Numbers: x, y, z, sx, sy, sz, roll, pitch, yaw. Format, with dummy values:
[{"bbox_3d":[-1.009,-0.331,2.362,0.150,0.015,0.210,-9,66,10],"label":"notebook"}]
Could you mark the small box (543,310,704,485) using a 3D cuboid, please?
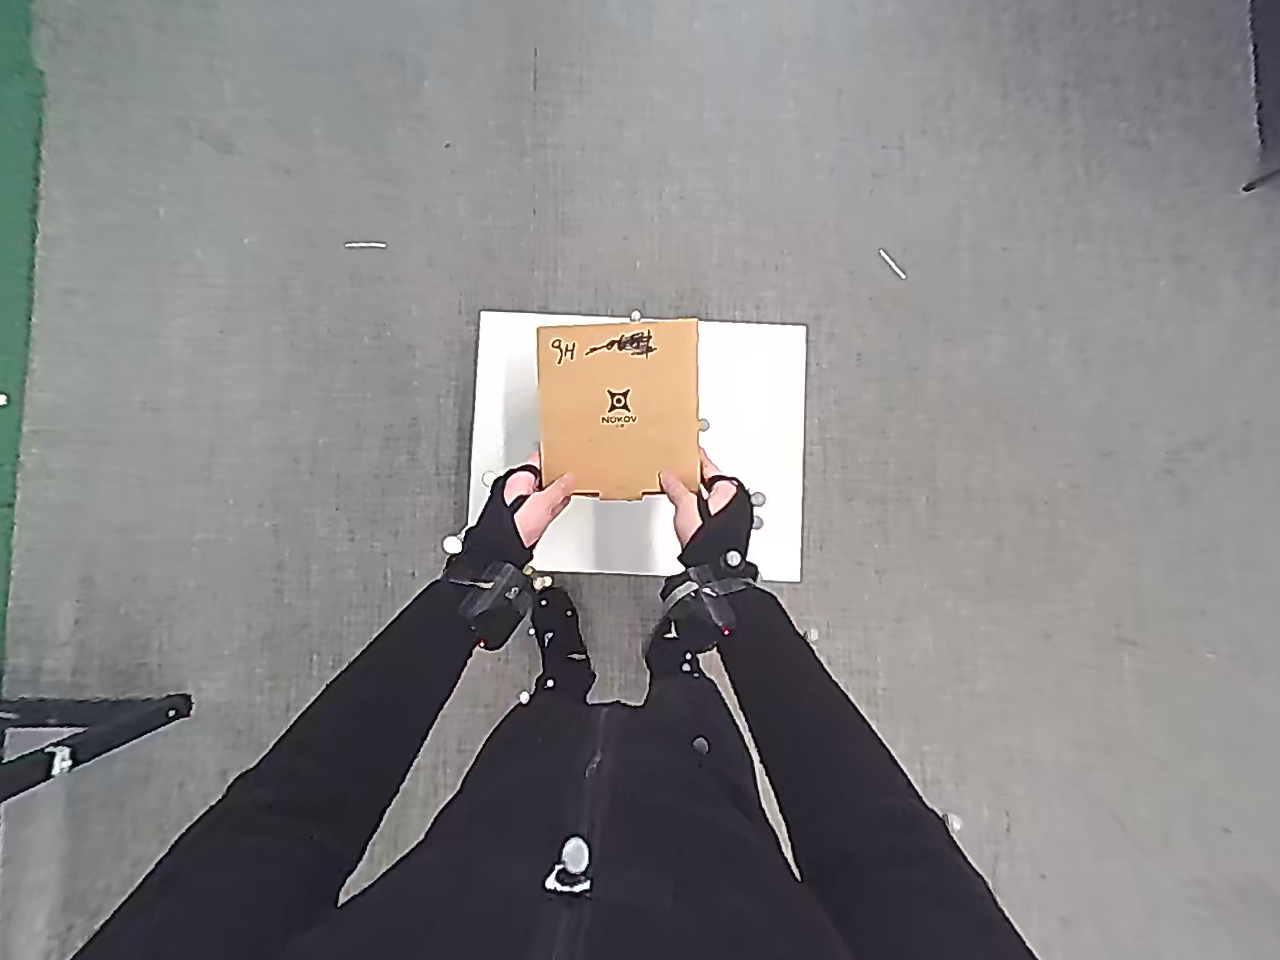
[{"bbox_3d":[-0.009,-0.091,0.641,0.168,0.176,0.179,-2,94,6],"label":"small box"}]
